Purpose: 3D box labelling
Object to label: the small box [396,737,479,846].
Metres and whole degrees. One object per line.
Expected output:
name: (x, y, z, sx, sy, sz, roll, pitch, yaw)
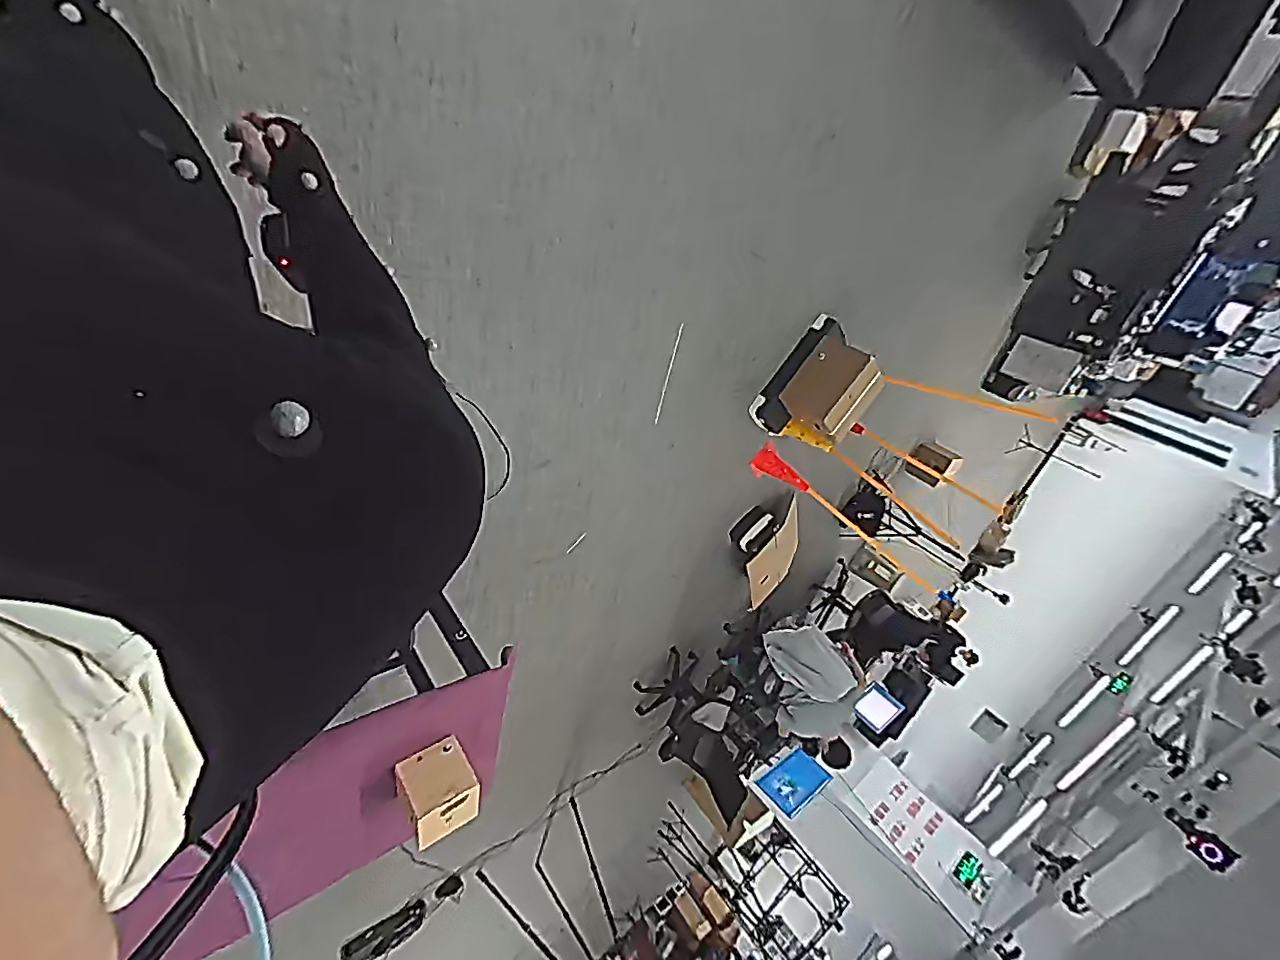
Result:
small box: (-0.557, 0.841, 1.481, 0.168, 0.176, 0.179, -15, 132, -37)
